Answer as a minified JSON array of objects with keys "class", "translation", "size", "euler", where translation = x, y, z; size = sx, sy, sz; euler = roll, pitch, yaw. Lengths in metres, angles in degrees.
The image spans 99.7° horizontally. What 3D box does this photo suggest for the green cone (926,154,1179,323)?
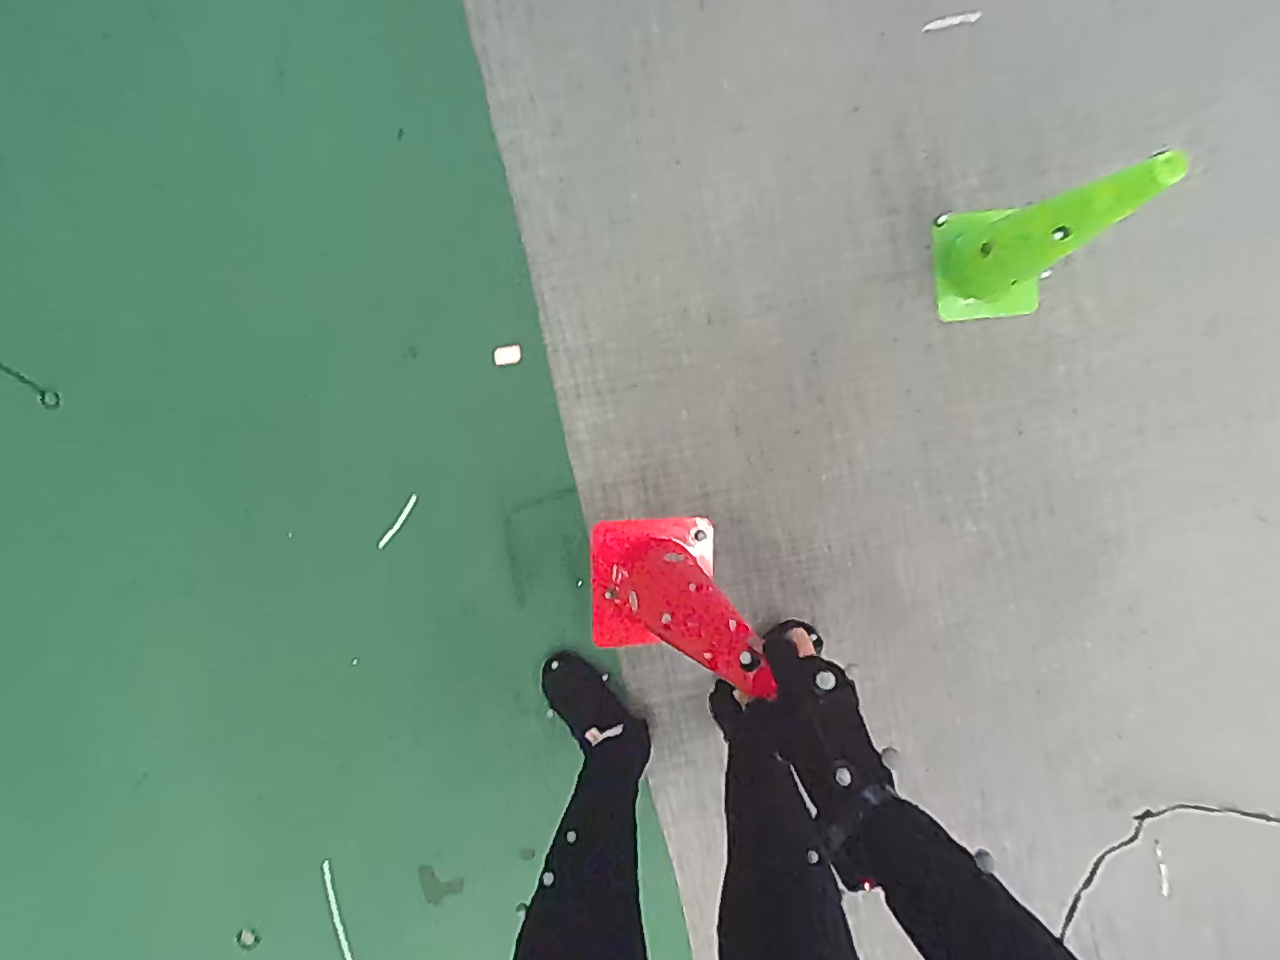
[{"class":"green cone","translation":[0.667,-0.404,0.878],"size":[0.202,0.368,0.200],"euler":[-7,92,-2]}]
